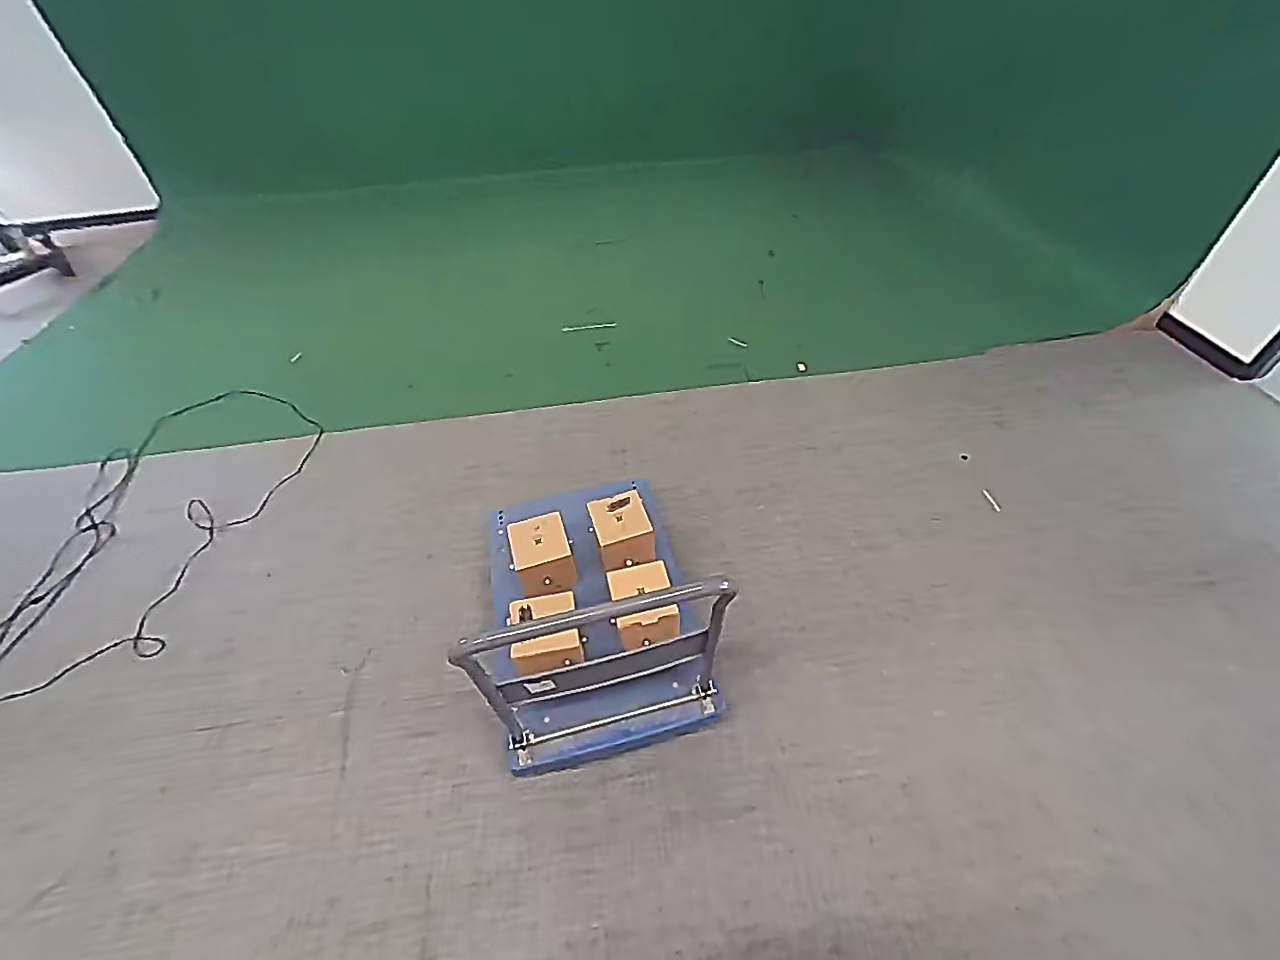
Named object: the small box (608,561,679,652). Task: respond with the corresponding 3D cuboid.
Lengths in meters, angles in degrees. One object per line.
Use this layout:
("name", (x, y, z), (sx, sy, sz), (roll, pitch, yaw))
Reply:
("small box", (0.009, 0.361, 1.543), (0.168, 0.176, 0.179), (-12, 49, -7))

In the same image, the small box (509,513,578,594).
("small box", (-0.297, 0.235, 1.677), (0.168, 0.176, 0.179), (-15, 48, -10))

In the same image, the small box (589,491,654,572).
("small box", (-0.058, 0.168, 1.721), (0.168, 0.176, 0.179), (-16, 50, -9))
